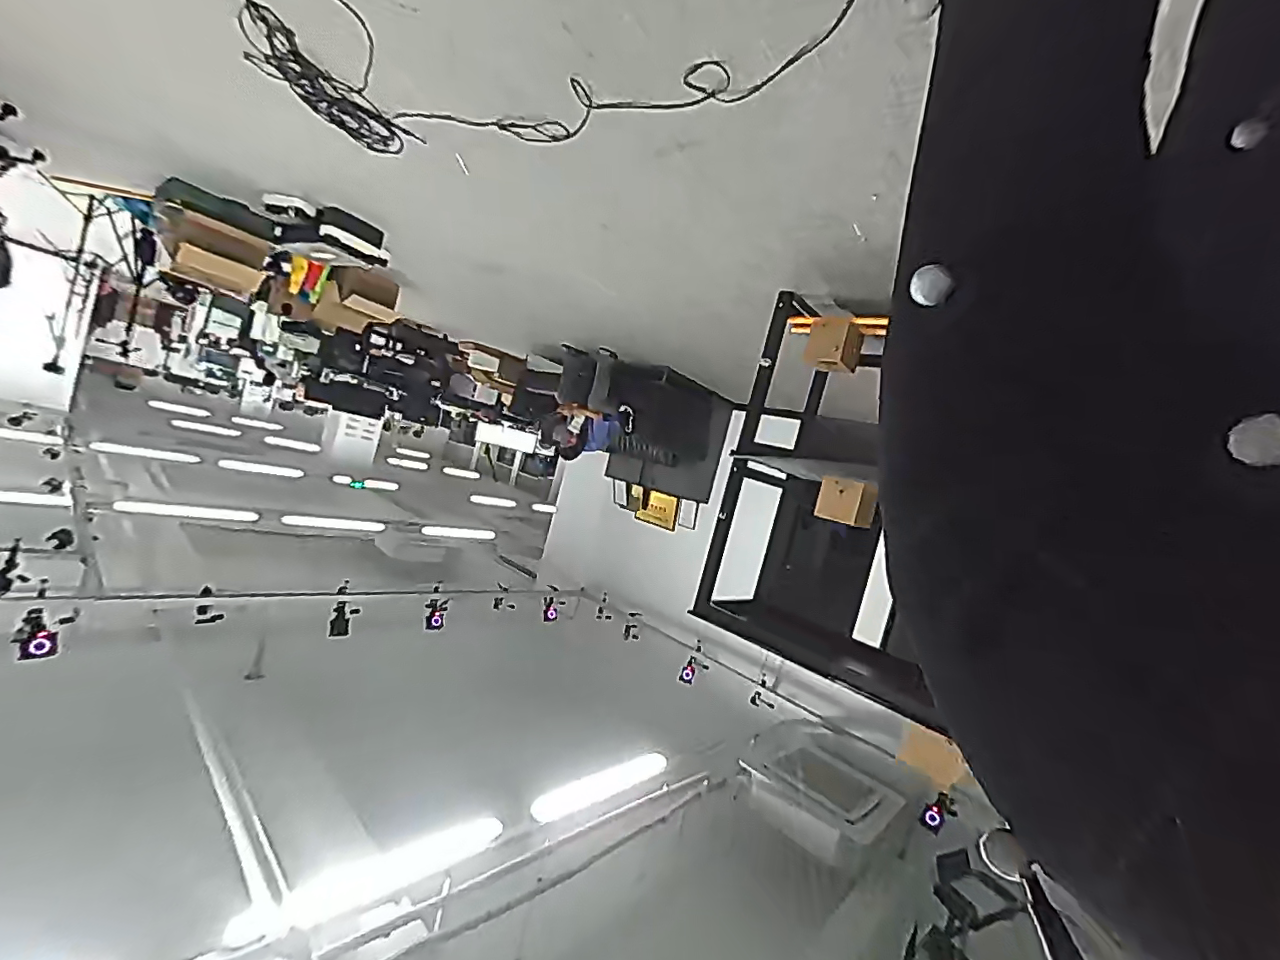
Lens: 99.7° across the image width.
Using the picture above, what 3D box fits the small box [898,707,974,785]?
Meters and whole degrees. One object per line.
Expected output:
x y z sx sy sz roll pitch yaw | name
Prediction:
1.010 0.895 1.841 0.179 0.176 0.168 12 -176 -44 | small box

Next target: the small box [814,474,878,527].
0.822 0.081 2.149 0.168 0.176 0.179 16 -178 43 | small box
